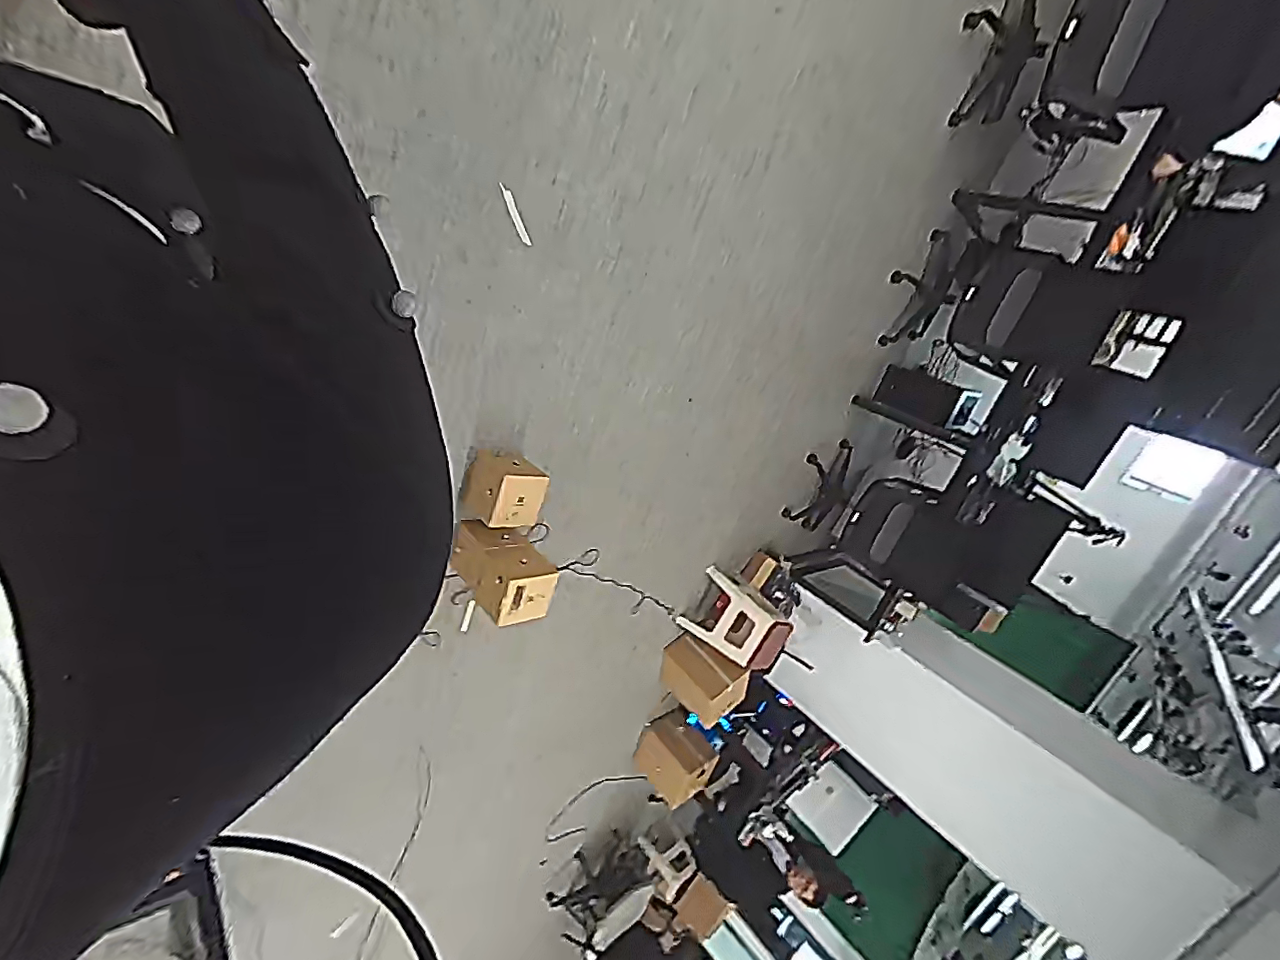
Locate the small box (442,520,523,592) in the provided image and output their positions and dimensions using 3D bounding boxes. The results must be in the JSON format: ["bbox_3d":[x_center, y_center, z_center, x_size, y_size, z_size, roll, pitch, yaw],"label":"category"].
[{"bbox_3d":[-0.512,0.237,1.751,0.179,0.176,0.168,-1,118,-46],"label":"small box"}]

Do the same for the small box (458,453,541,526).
[{"bbox_3d":[-0.440,0.028,1.673,0.168,0.176,0.179,5,112,-49],"label":"small box"}]
